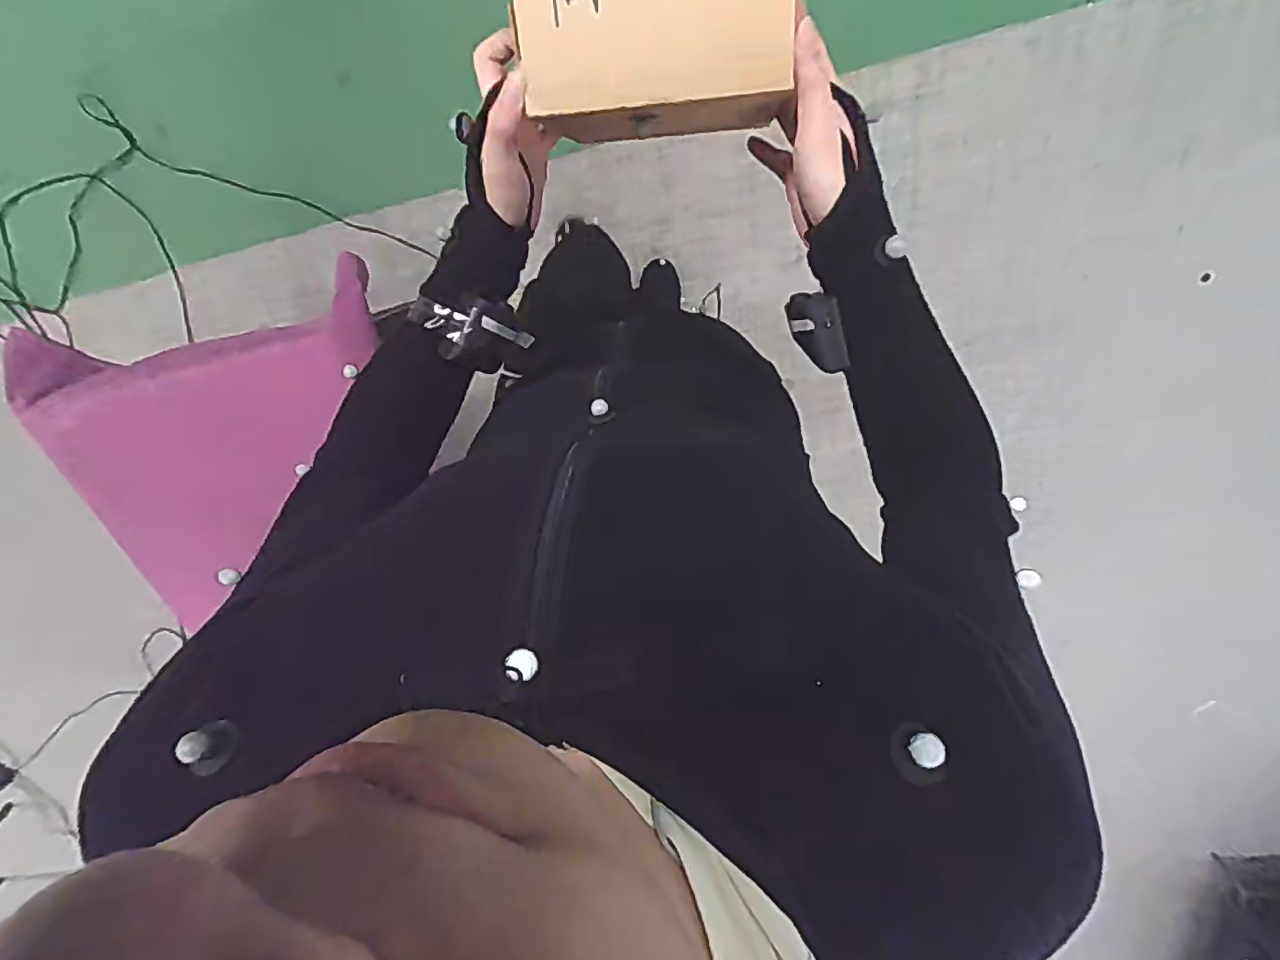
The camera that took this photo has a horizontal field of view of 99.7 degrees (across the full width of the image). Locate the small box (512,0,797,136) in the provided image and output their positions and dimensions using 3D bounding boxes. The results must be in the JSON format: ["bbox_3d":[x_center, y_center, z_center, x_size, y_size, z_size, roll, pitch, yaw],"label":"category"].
[{"bbox_3d":[0.015,-0.356,0.384,0.179,0.176,0.168,0,116,8],"label":"small box"}]
